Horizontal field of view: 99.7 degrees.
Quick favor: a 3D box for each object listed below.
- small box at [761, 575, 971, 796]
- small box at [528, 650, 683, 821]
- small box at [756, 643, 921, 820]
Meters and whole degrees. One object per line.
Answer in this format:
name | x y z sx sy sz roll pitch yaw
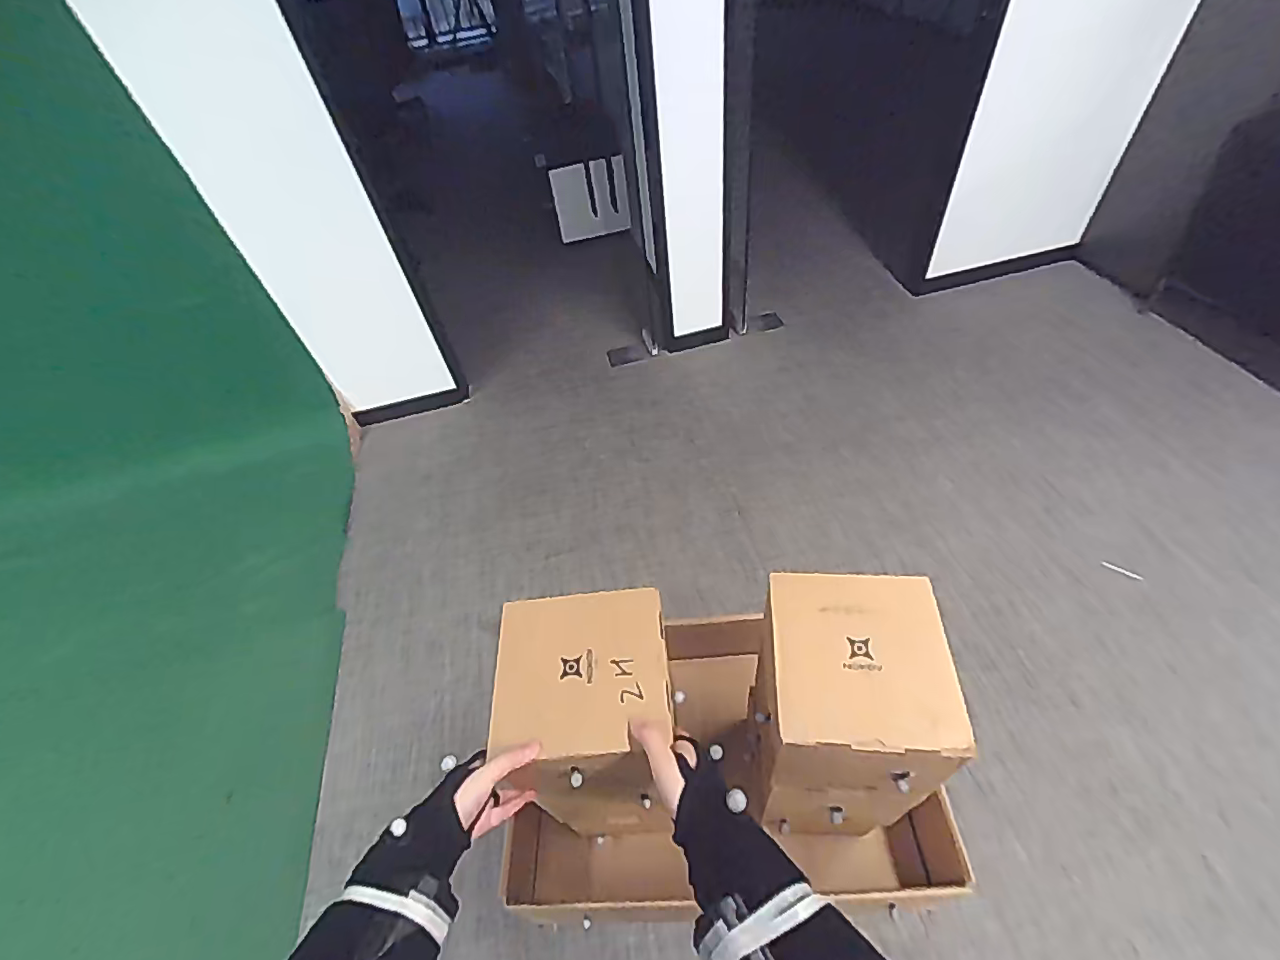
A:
small box | 0.218 0.221 0.578 0.168 0.176 0.179 0 49 9
small box | -0.039 0.350 0.733 0.179 0.176 0.168 -6 49 3
small box | 0.239 0.326 0.701 0.168 0.176 0.179 0 50 8
